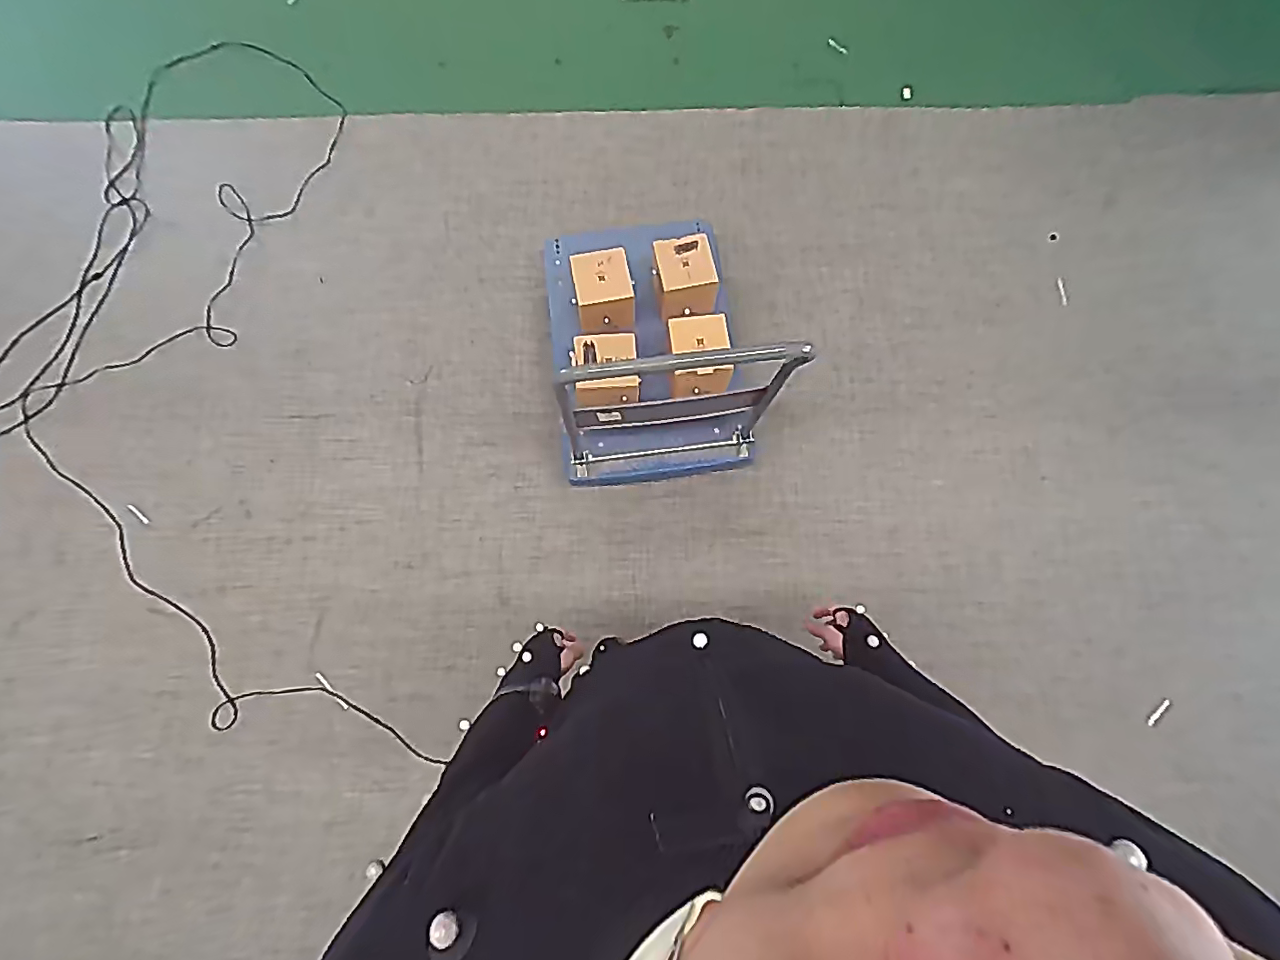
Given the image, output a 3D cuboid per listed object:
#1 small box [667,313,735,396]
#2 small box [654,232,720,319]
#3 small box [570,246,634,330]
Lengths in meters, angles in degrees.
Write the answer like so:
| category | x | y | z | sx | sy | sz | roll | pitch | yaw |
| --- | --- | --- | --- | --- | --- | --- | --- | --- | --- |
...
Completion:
| category | x | y | z | sx | sy | sz | roll | pitch | yaw |
| --- | --- | --- | --- | --- | --- | --- | --- | --- | --- |
| small box | 0.172 | -0.365 | 1.590 | 0.168 | 0.176 | 0.179 | -6 | 75 | -2 |
| small box | 0.137 | -0.623 | 1.660 | 0.168 | 0.176 | 0.179 | -11 | 76 | -2 |
| small box | -0.110 | -0.575 | 1.647 | 0.168 | 0.176 | 0.179 | -10 | 75 | -4 |
